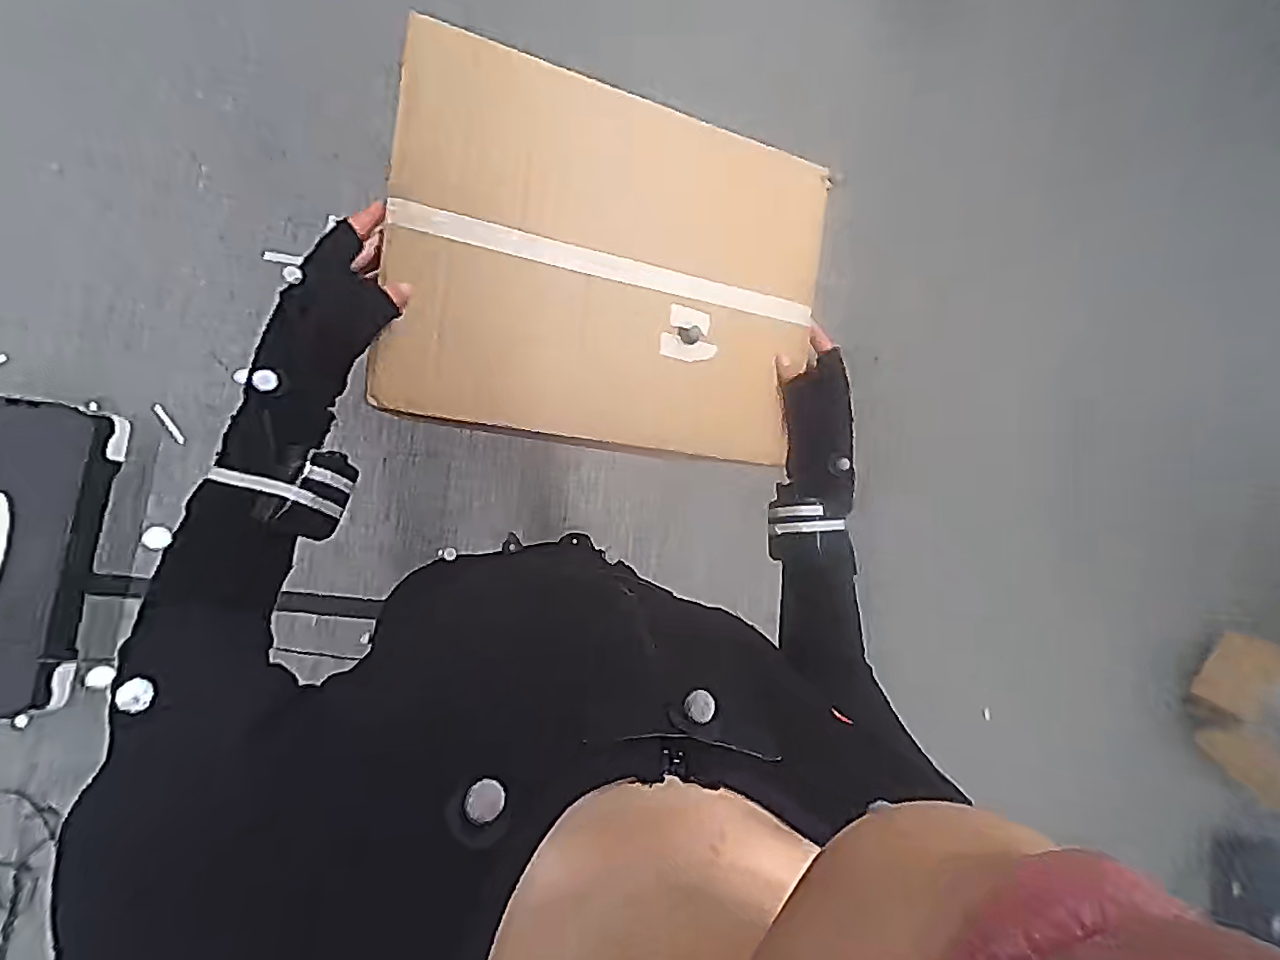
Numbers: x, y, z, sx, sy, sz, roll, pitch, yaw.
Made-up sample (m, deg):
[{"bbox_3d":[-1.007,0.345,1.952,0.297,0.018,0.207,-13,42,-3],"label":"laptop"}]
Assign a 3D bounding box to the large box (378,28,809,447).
[{"bbox_3d":[-0.072,-0.210,0.644,0.408,0.320,0.320,5,93,-21],"label":"large box"}]
